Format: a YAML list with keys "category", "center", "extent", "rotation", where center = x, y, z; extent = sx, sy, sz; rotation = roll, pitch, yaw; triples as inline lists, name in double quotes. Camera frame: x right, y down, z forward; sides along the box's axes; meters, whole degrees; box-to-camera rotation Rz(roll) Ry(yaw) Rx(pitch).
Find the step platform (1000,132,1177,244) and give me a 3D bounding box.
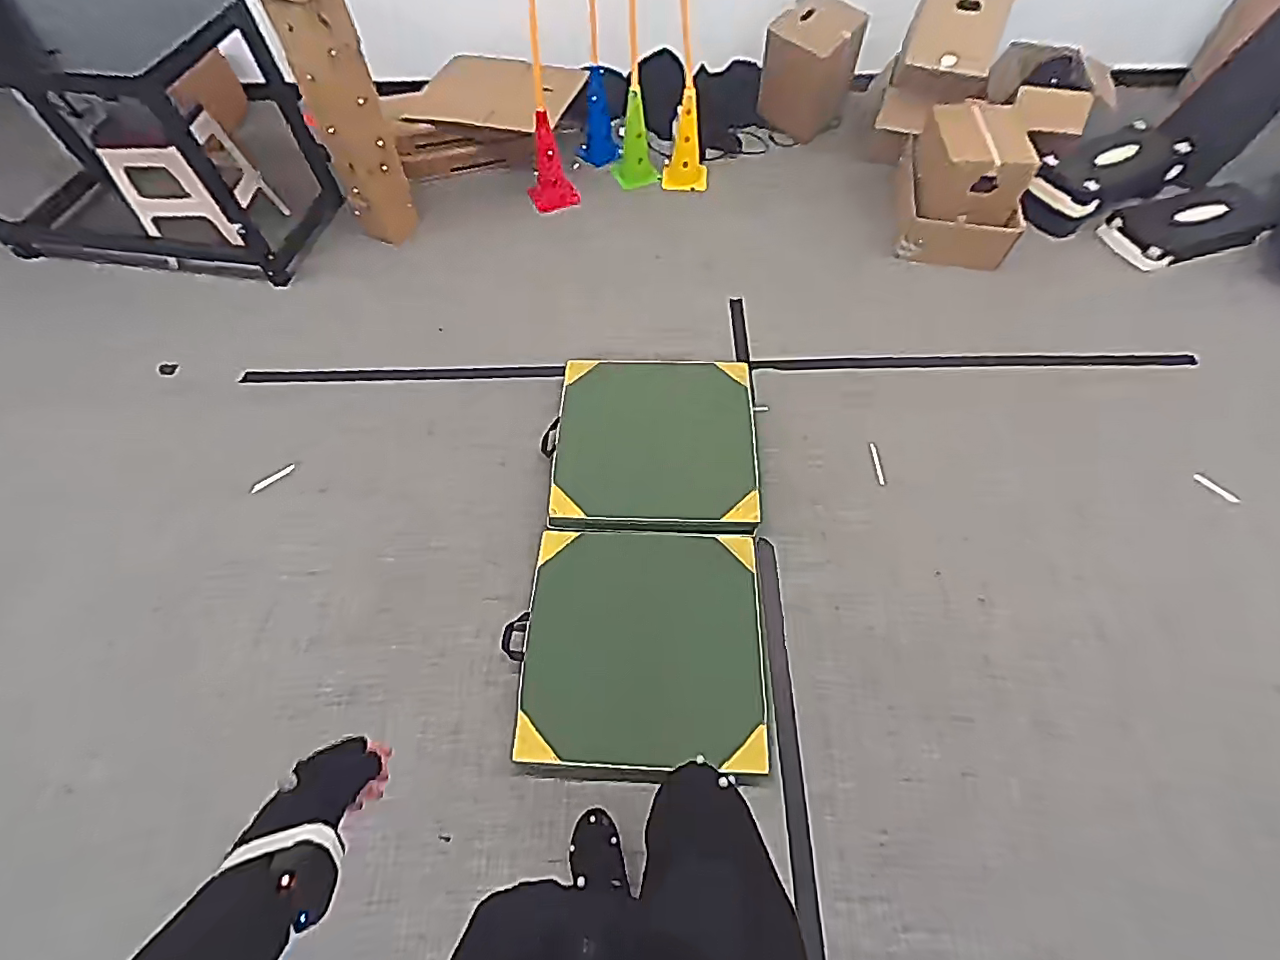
- category: "step platform"
  center: [1.922, -1.261, 2.319]
  extent: [0.684, 0.204, 0.286]
  rotation: [-26, 63, -14]
